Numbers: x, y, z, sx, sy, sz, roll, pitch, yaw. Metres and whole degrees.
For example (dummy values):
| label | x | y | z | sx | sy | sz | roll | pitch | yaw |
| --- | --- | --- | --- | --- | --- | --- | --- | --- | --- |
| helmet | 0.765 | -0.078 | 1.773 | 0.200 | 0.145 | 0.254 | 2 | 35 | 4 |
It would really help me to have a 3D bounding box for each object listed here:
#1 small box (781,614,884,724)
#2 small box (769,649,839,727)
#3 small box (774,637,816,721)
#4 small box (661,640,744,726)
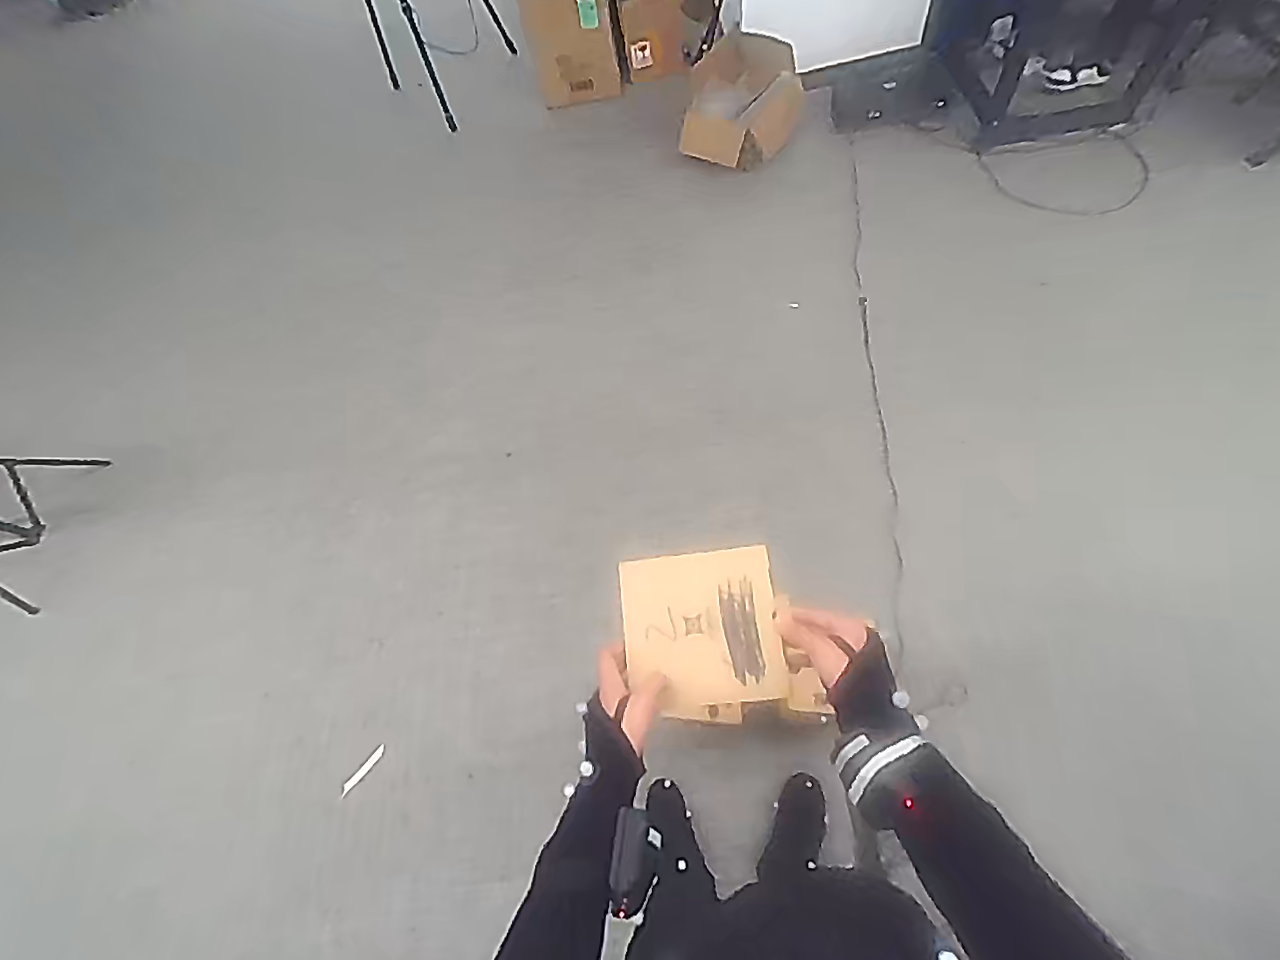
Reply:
| label | x | y | z | sx | sy | sz | roll | pitch | yaw |
| --- | --- | --- | --- | --- | --- | --- | --- | --- | --- |
| small box | 0.371 | 0.378 | 1.073 | 0.168 | 0.176 | 0.179 | 0 | 63 | 11 |
| small box | 0.424 | 0.520 | 1.362 | 0.168 | 0.176 | 0.179 | -7 | 63 | 7 |
| small box | 0.400 | 0.449 | 1.219 | 0.179 | 0.176 | 0.168 | -6 | 63 | 8 |
| small box | 0.149 | 0.472 | 1.246 | 0.179 | 0.176 | 0.168 | 0 | 64 | 11 |
